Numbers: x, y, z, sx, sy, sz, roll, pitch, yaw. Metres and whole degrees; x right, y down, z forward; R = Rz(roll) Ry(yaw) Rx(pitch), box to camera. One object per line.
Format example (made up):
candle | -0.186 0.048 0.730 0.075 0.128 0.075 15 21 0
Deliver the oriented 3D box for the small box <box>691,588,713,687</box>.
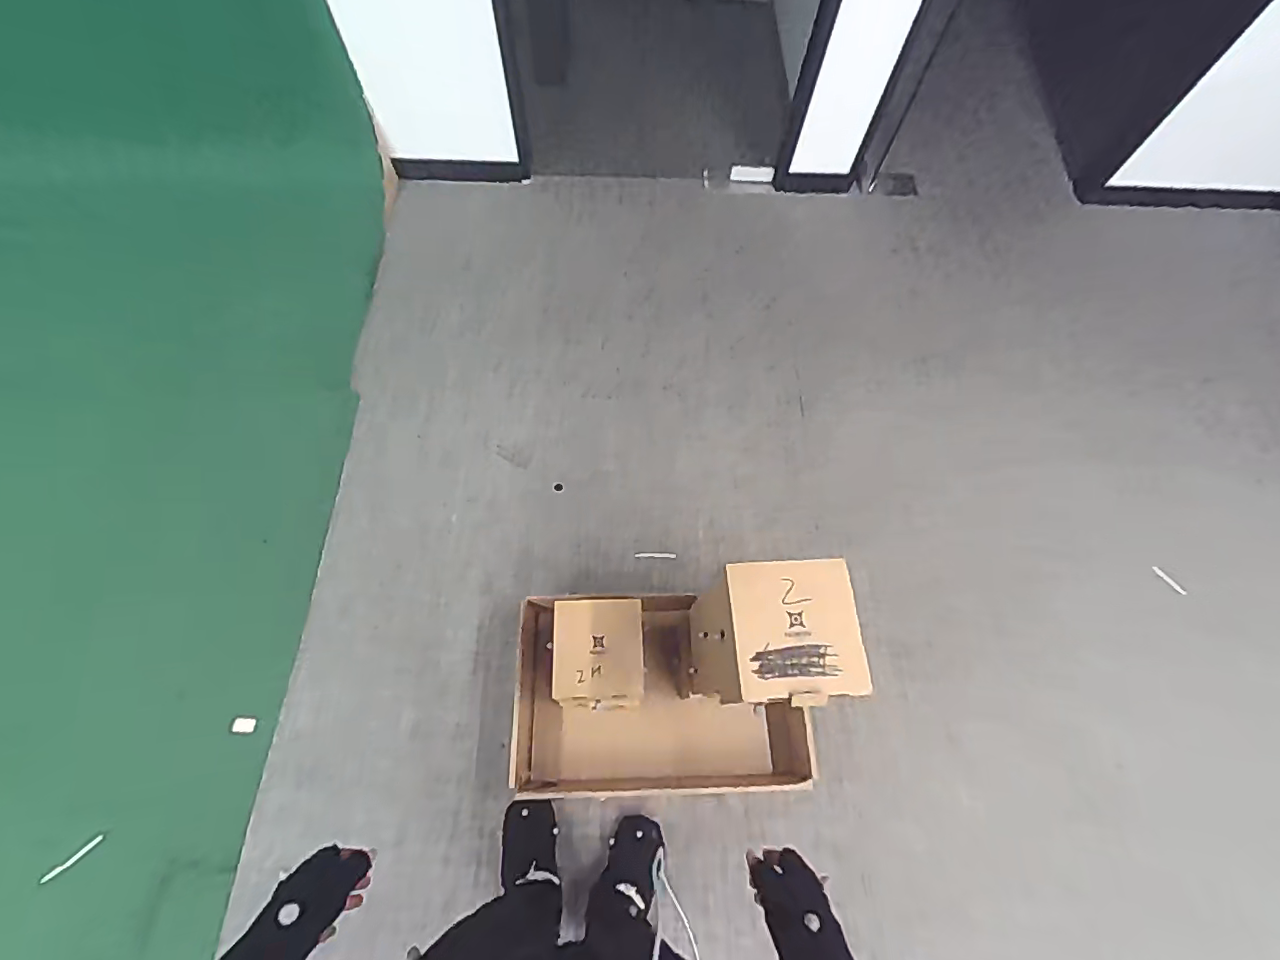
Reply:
small box | 0.192 0.314 1.064 0.168 0.176 0.179 -1 67 -2

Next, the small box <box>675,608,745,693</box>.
small box | 0.173 0.386 1.229 0.168 0.176 0.179 -5 67 -3

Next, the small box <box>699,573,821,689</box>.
small box | 0.194 0.263 0.925 0.168 0.176 0.179 1 67 -2
